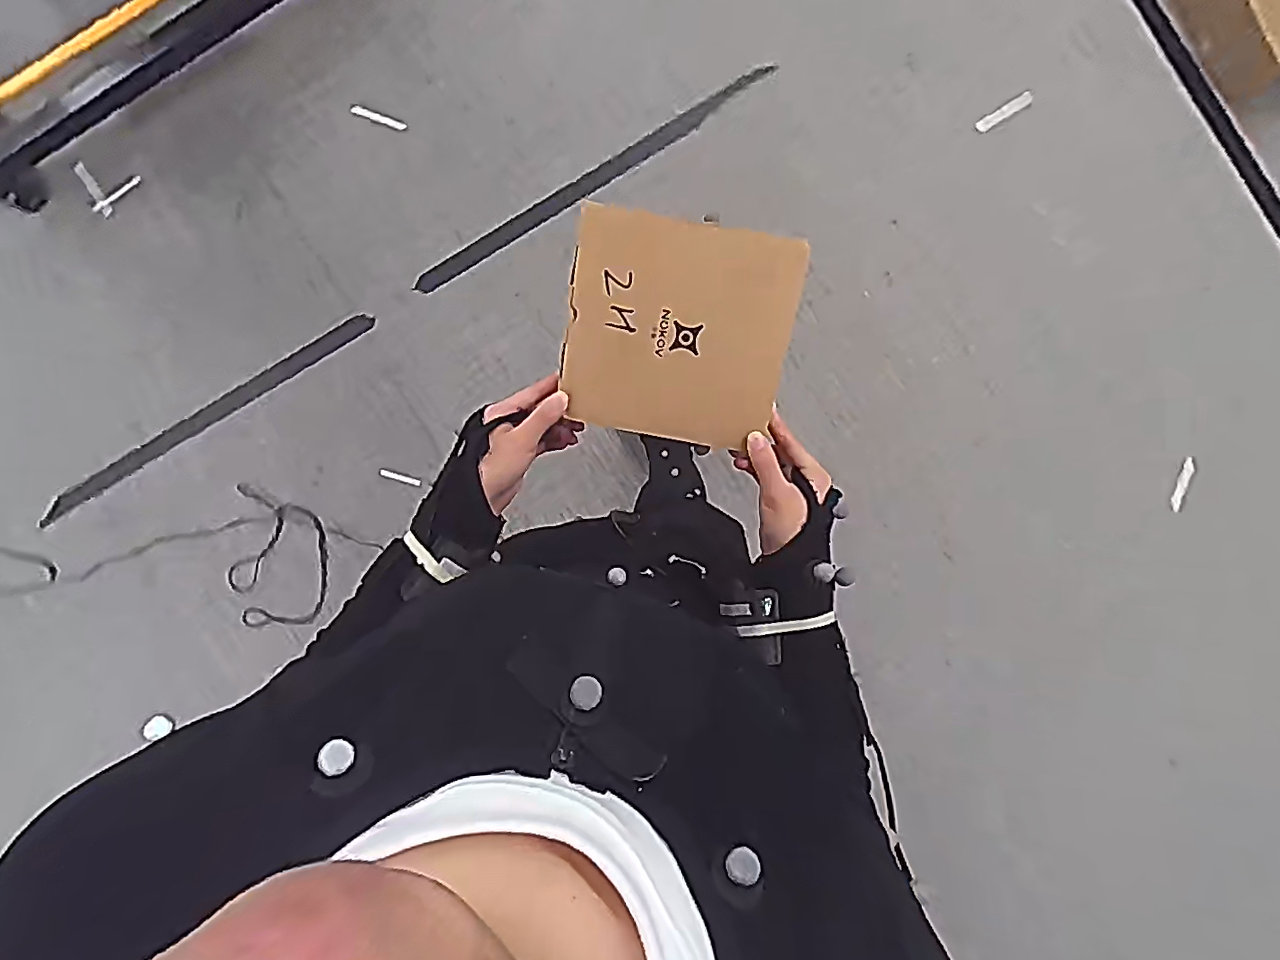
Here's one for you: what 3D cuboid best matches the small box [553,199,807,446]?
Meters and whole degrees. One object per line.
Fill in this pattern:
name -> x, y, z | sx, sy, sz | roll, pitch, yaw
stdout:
small box -> 0.032, -0.141, 0.500 | 0.179, 0.176, 0.168 | 10, 106, 2
